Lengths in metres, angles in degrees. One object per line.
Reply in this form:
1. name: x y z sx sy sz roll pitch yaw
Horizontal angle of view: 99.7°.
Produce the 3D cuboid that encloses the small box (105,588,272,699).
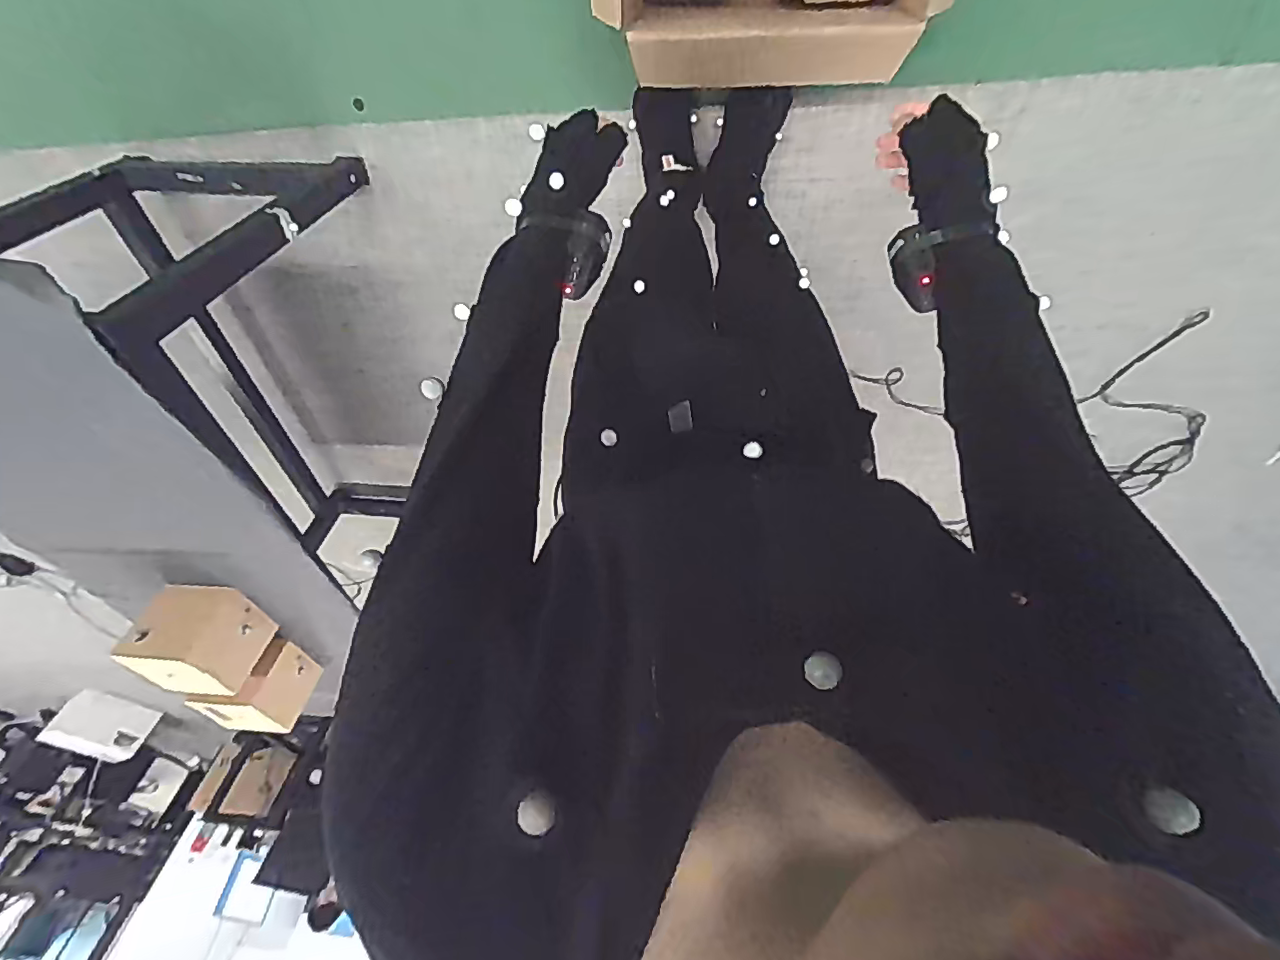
1. small box: -0.944 0.345 1.151 0.179 0.176 0.168 1 136 8
